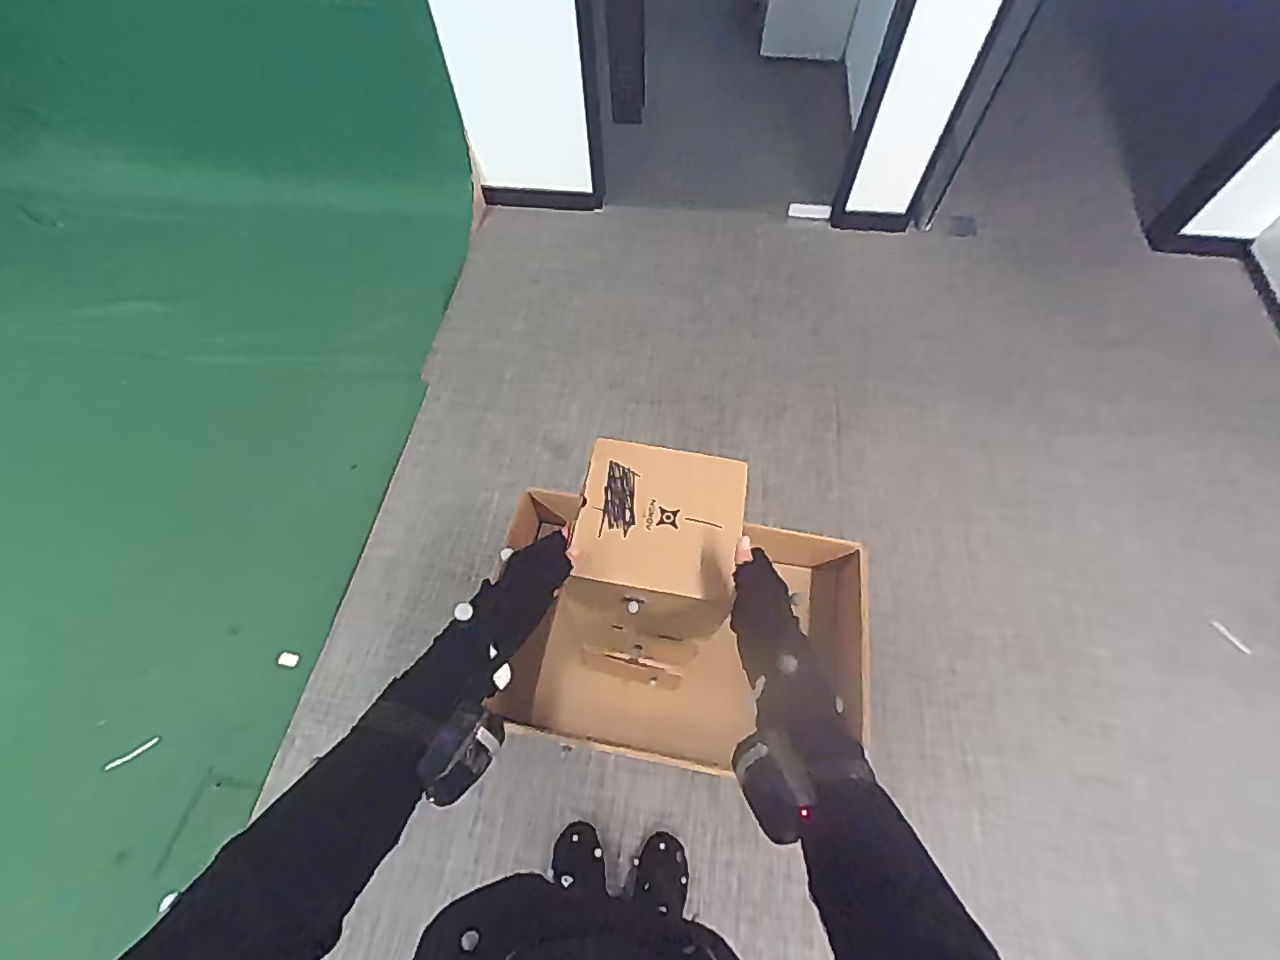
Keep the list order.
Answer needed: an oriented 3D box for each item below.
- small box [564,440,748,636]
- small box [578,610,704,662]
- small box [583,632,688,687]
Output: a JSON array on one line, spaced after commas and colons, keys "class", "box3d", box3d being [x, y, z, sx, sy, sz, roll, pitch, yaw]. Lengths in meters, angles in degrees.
[{"class": "small box", "box3d": [0.019, 0.077, 0.641, 0.179, 0.176, 0.168, 10, 62, 2]}, {"class": "small box", "box3d": [0.016, 0.153, 0.787, 0.168, 0.176, 0.179, 12, 63, 4]}, {"class": "small box", "box3d": [0.008, 0.240, 0.926, 0.168, 0.176, 0.179, 12, 60, 4]}]
